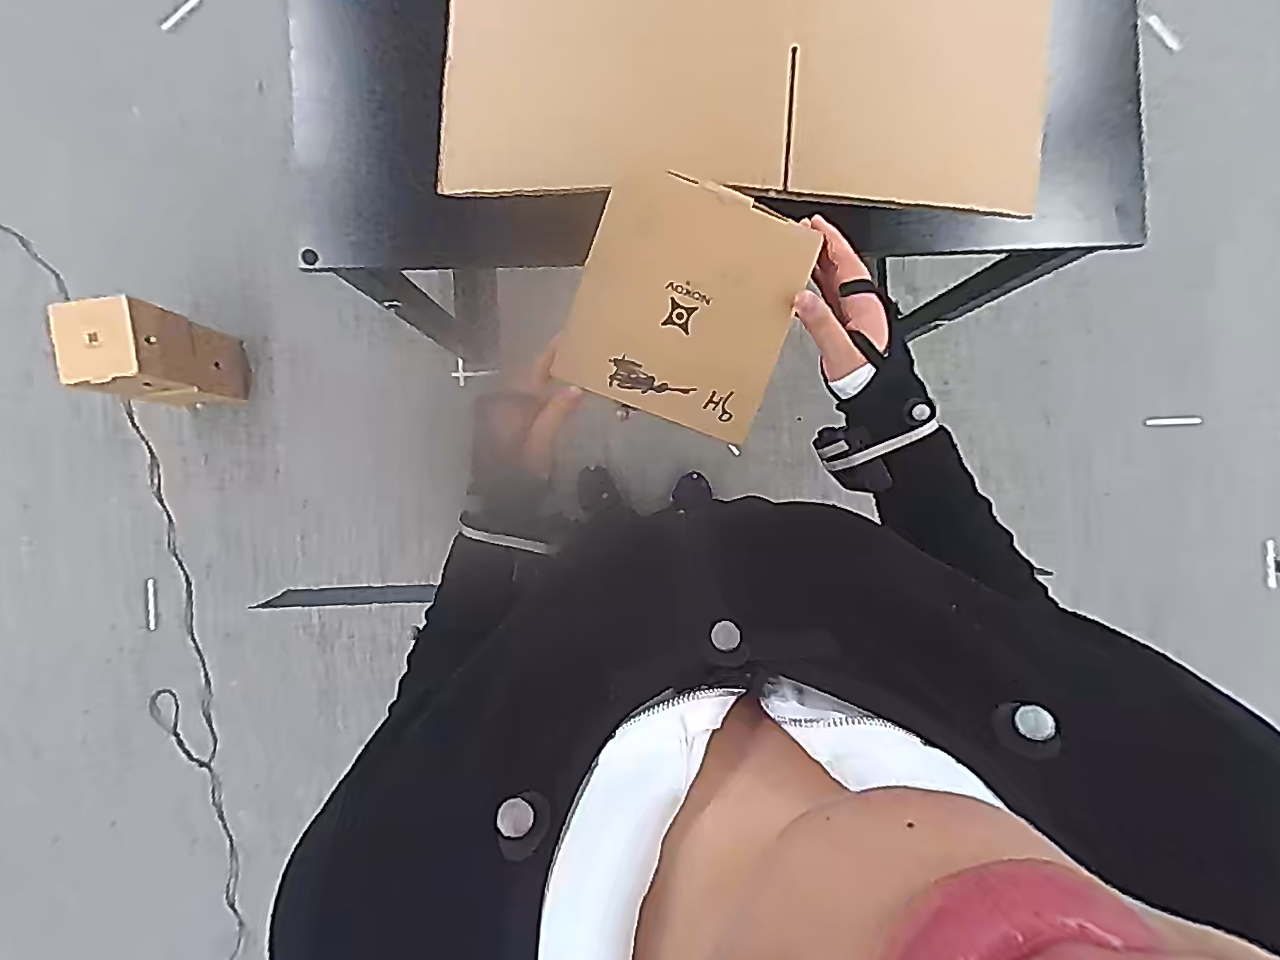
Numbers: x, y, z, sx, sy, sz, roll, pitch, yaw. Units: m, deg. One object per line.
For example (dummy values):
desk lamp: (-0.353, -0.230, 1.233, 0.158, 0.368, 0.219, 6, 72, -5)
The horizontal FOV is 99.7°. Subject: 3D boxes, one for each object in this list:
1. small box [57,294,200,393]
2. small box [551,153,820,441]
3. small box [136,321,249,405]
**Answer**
small box: (-1.153, -0.301, 1.234, 0.168, 0.176, 0.179, -9, 89, -2)
small box: (0.033, -0.148, 0.498, 0.168, 0.176, 0.179, 21, 97, -2)
small box: (-1.154, -0.296, 1.396, 0.168, 0.176, 0.179, -6, 91, -1)
